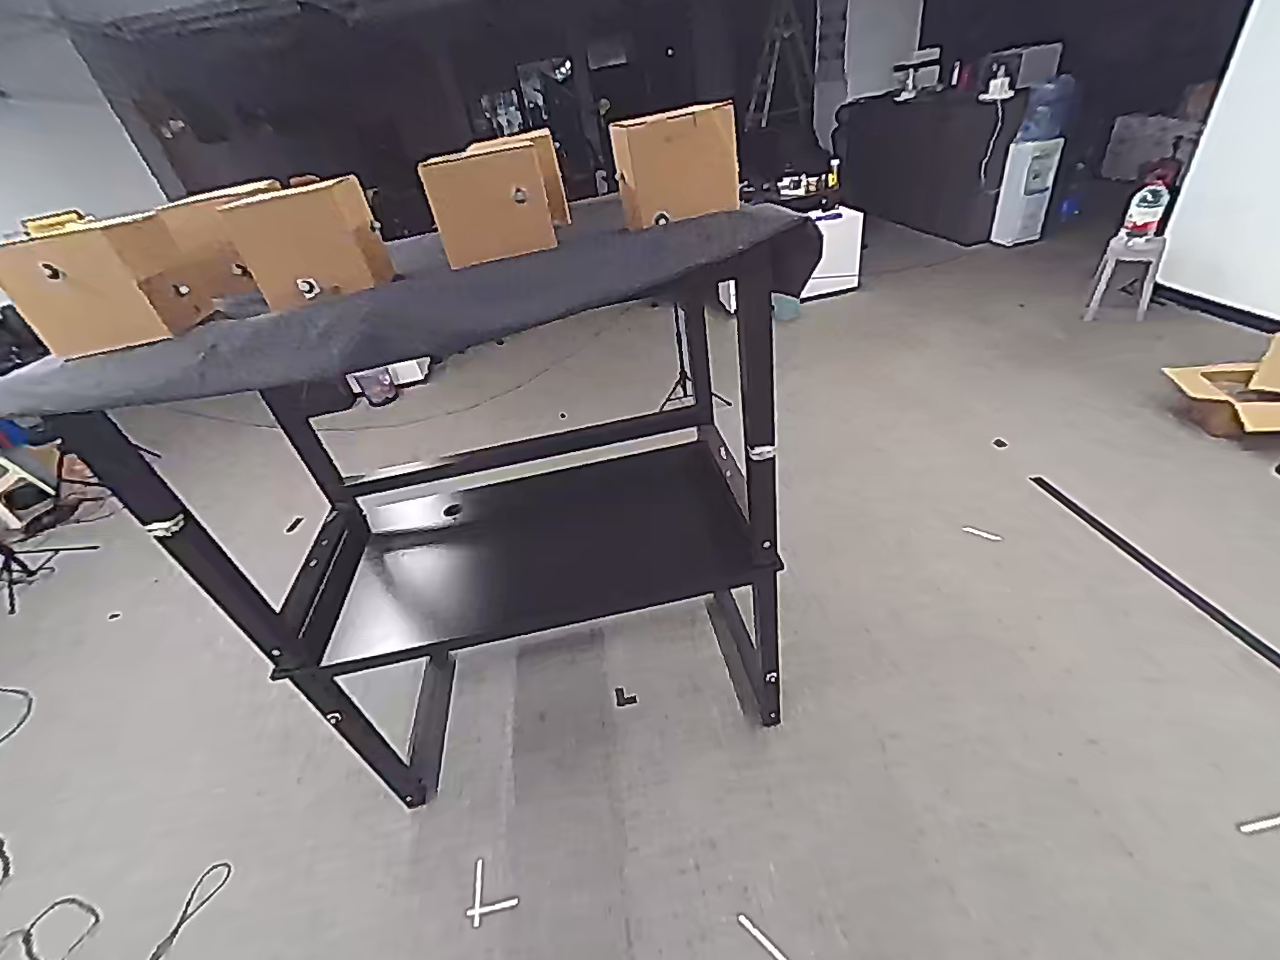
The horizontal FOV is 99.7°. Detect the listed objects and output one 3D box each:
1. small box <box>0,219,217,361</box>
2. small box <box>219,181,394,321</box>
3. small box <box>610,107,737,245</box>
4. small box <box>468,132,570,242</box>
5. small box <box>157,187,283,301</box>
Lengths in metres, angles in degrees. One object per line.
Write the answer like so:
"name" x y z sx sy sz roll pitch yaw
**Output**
"small box" -0.850 -0.306 0.873 0.179 0.176 0.168 -14 35 -5
"small box" -0.527 -0.377 0.888 0.168 0.176 0.179 -16 35 -5
"small box" 0.056 -0.506 0.905 0.168 0.176 0.179 -14 35 -4
"small box" -0.249 -0.616 1.141 0.168 0.176 0.179 -13 36 -2
"small box" -0.811 -0.486 1.112 0.179 0.176 0.168 -13 36 -4
